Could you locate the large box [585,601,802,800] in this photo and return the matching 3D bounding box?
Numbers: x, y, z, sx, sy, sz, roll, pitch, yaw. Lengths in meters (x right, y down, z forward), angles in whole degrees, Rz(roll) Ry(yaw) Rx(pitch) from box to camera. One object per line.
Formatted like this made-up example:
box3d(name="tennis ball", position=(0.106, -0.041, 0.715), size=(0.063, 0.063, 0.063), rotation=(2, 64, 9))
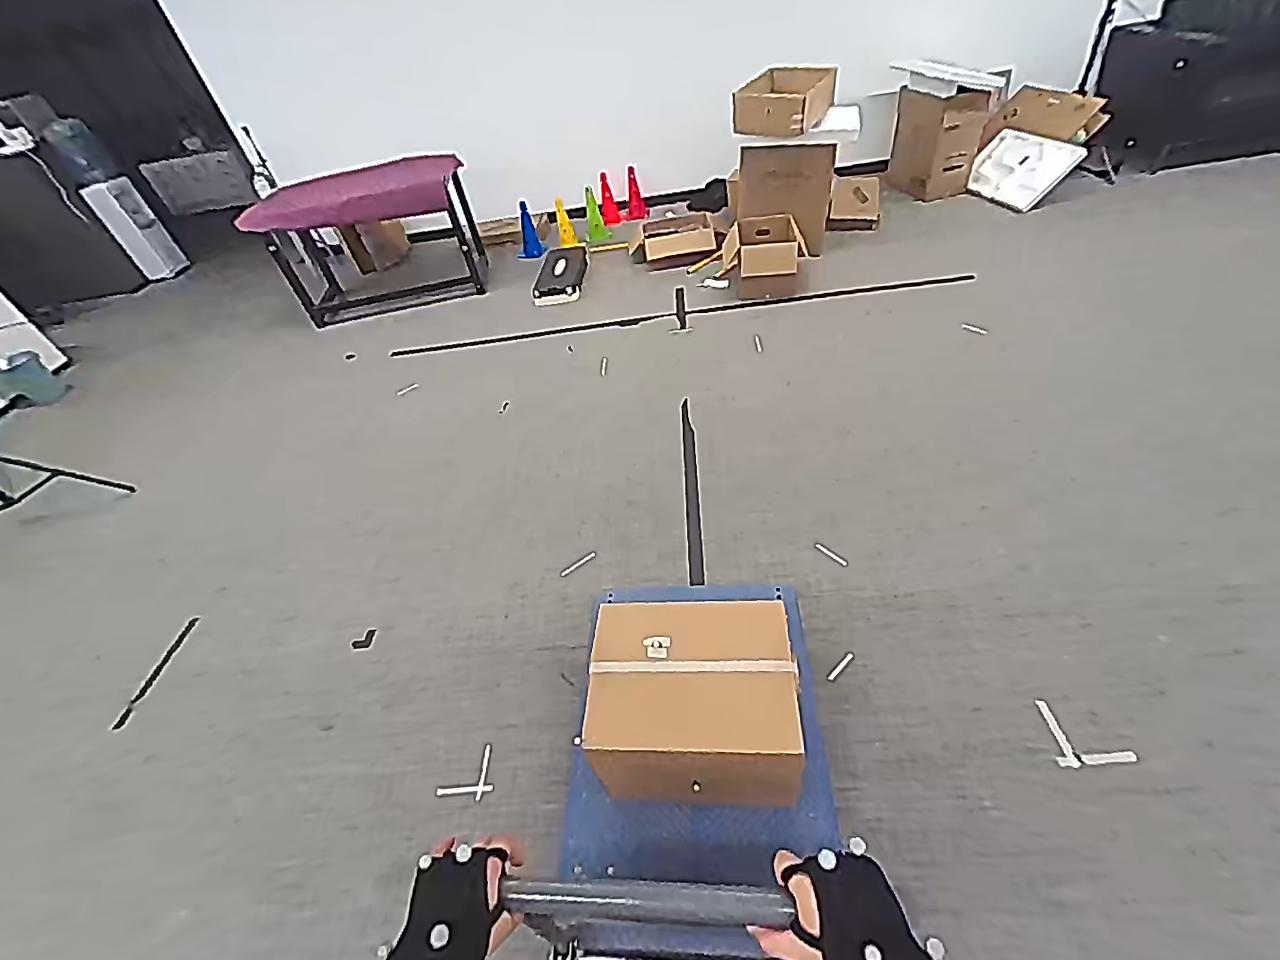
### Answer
box3d(name="large box", position=(0.123, 0.491, 1.191), size=(0.408, 0.320, 0.320), rotation=(-4, 43, 9))
